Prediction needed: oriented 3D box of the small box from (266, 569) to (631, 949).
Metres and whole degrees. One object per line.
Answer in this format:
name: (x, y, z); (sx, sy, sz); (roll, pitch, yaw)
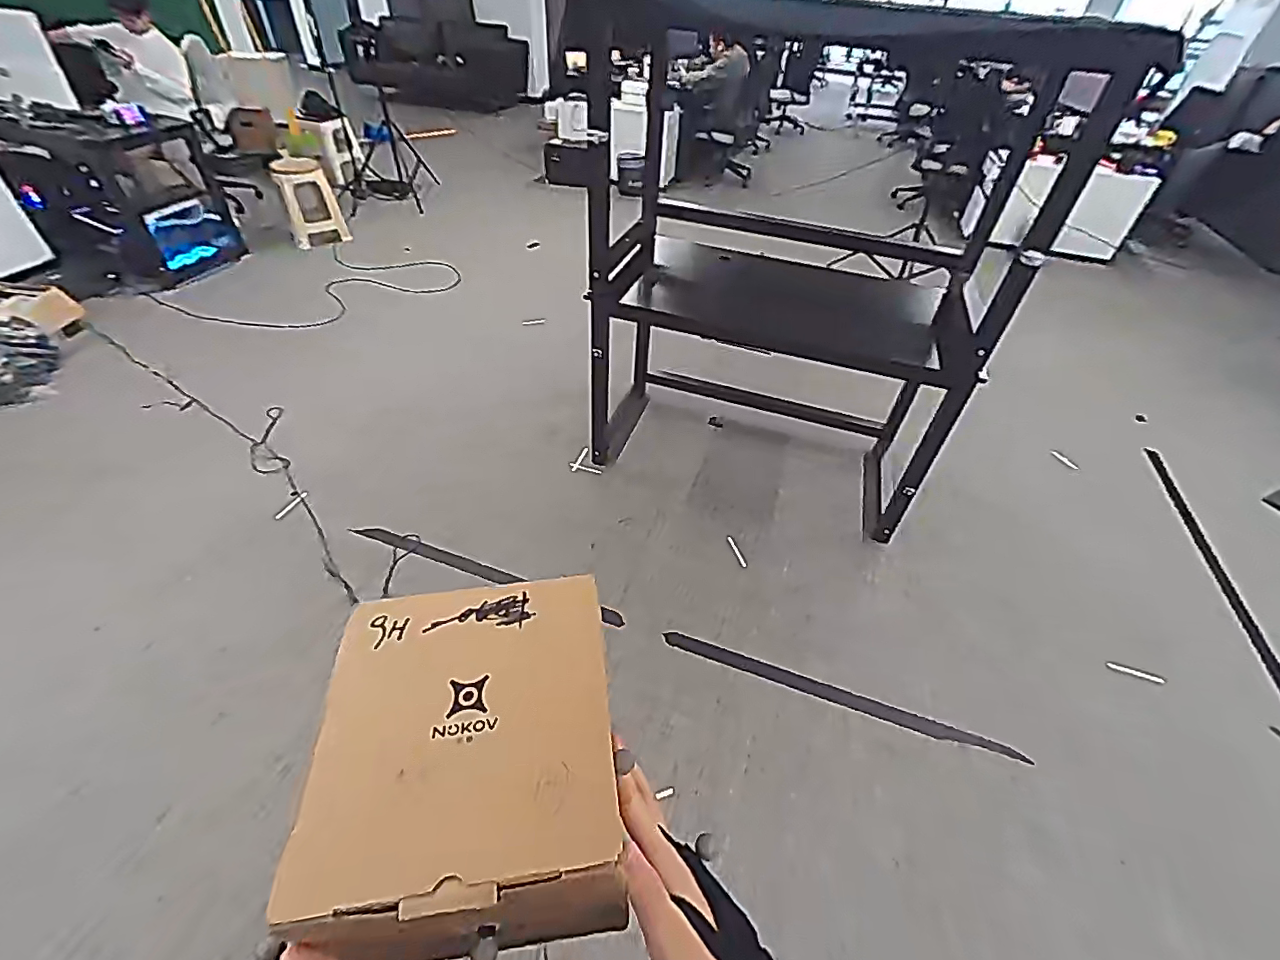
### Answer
small box: (-0.097, 0.186, 0.361); (0.168, 0.176, 0.179); (-6, 44, -6)
